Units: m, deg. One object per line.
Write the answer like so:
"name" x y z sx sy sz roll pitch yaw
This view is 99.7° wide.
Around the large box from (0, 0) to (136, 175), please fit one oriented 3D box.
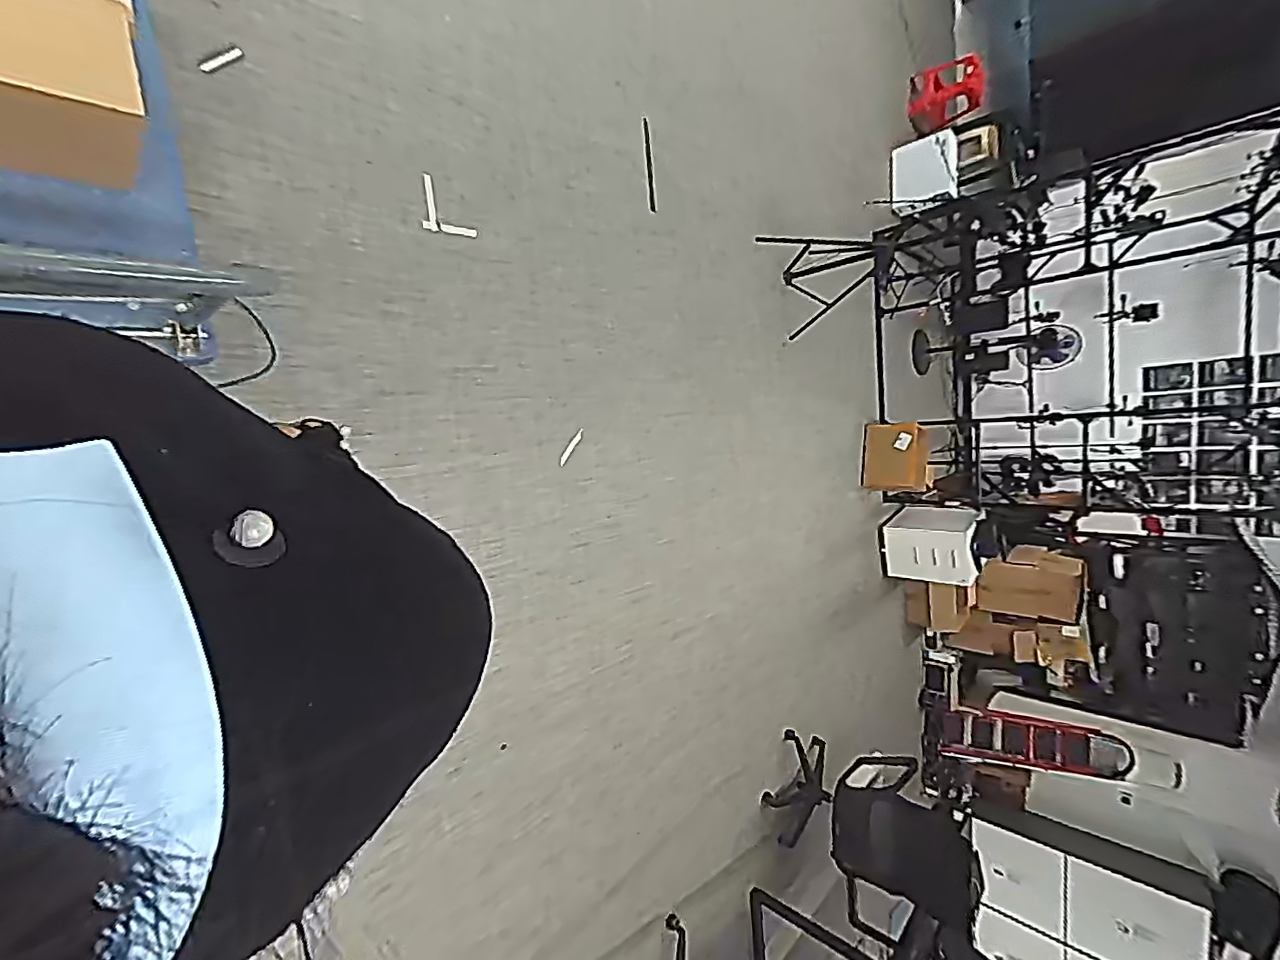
"large box" -0.992 -0.666 0.734 0.408 0.320 0.320 -13 99 -45
